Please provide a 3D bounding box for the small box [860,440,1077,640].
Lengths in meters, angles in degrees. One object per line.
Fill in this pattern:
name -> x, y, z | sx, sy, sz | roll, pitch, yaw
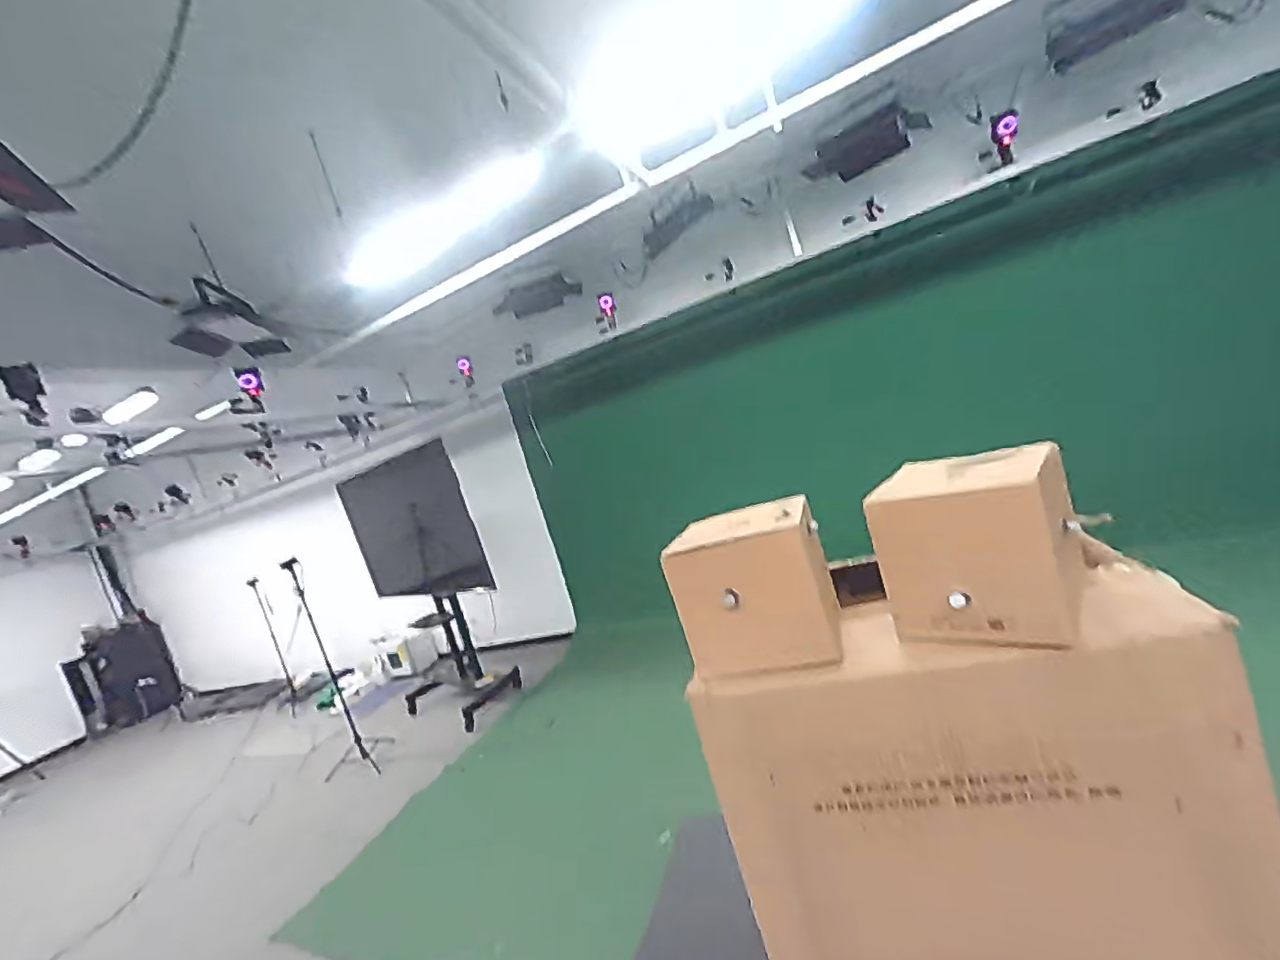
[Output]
small box -> 0.385, 0.065, 0.629 | 0.168, 0.176, 0.179 | -13, 7, 45

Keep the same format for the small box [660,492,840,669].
small box -> 0.153, 0.133, 0.725 | 0.179, 0.176, 0.168 | -18, 5, 22
